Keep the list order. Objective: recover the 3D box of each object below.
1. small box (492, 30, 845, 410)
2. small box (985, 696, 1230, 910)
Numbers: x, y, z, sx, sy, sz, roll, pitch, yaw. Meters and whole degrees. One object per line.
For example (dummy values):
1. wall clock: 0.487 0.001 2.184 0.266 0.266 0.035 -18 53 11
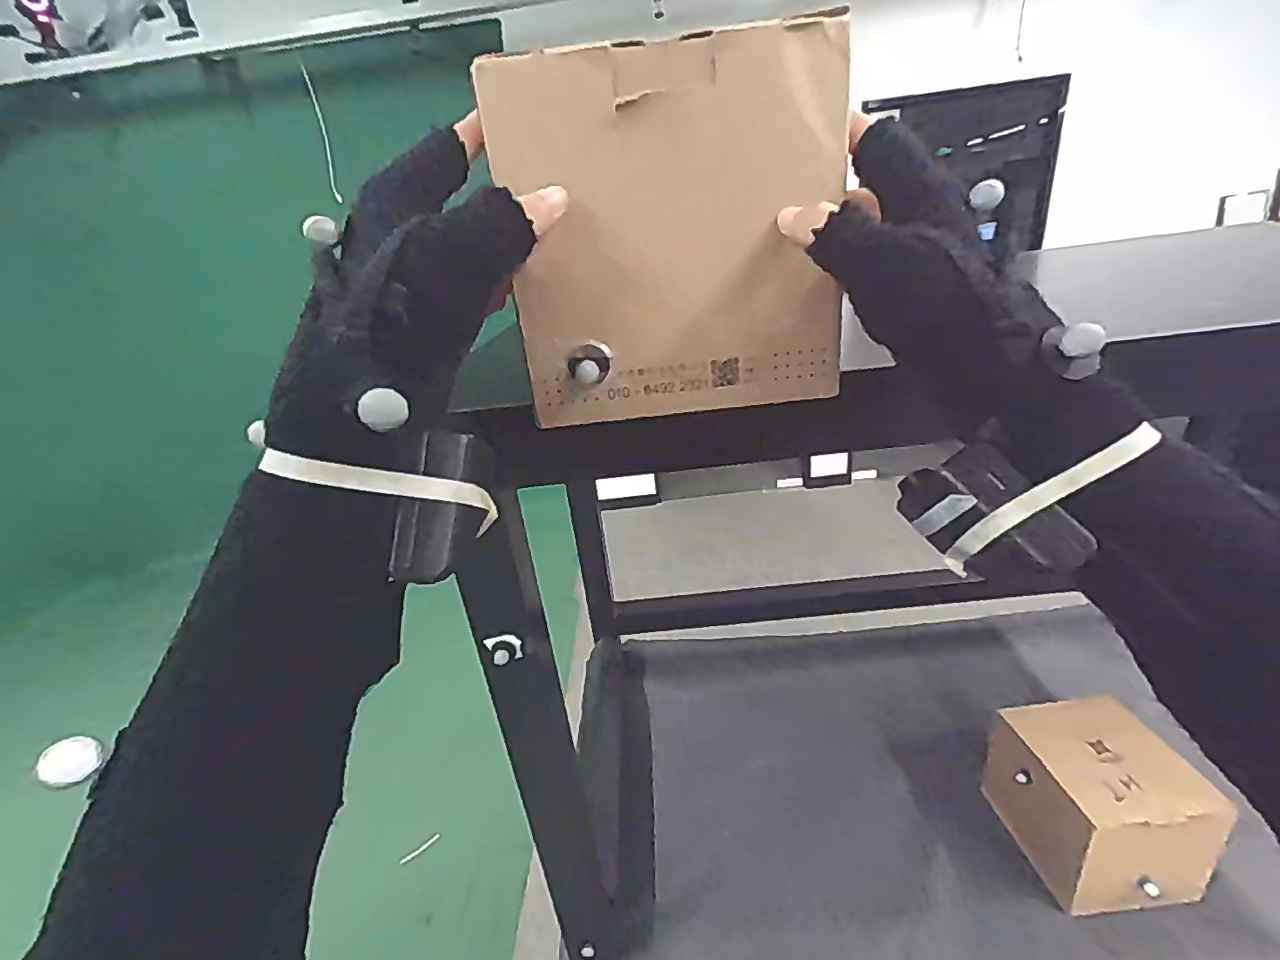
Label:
1. small box: 0.020 -0.146 0.349 0.168 0.176 0.179 -6 22 1
2. small box: 0.598 0.423 0.723 0.168 0.176 0.179 -7 22 0
